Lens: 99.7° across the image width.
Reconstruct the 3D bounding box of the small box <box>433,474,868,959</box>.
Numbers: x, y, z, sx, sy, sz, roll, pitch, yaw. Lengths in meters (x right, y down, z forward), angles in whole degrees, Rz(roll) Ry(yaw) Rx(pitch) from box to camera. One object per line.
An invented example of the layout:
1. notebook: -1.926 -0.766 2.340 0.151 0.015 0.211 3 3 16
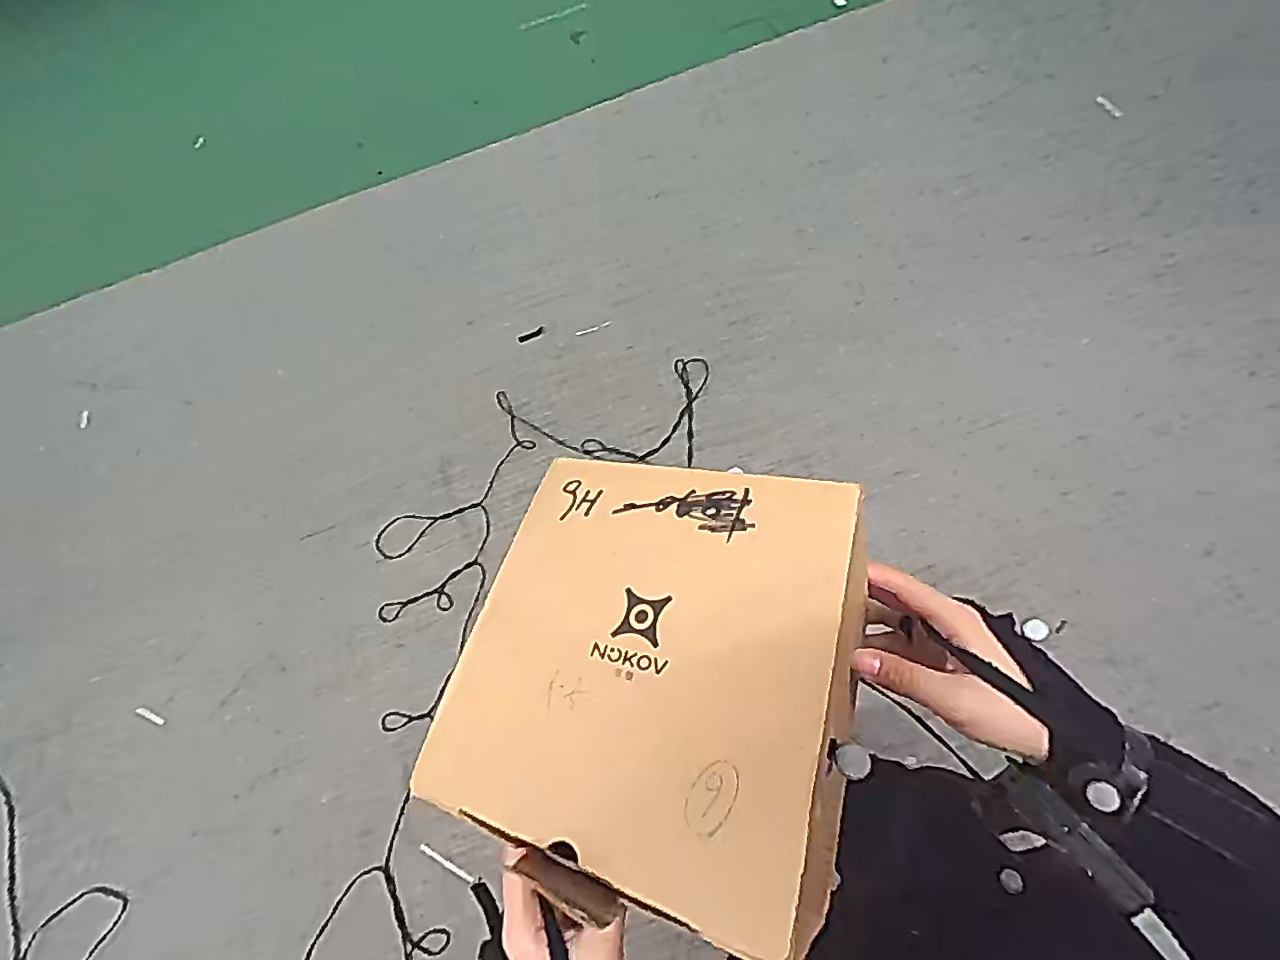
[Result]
1. small box: 0.031 0.119 0.305 0.168 0.176 0.179 7 61 27
